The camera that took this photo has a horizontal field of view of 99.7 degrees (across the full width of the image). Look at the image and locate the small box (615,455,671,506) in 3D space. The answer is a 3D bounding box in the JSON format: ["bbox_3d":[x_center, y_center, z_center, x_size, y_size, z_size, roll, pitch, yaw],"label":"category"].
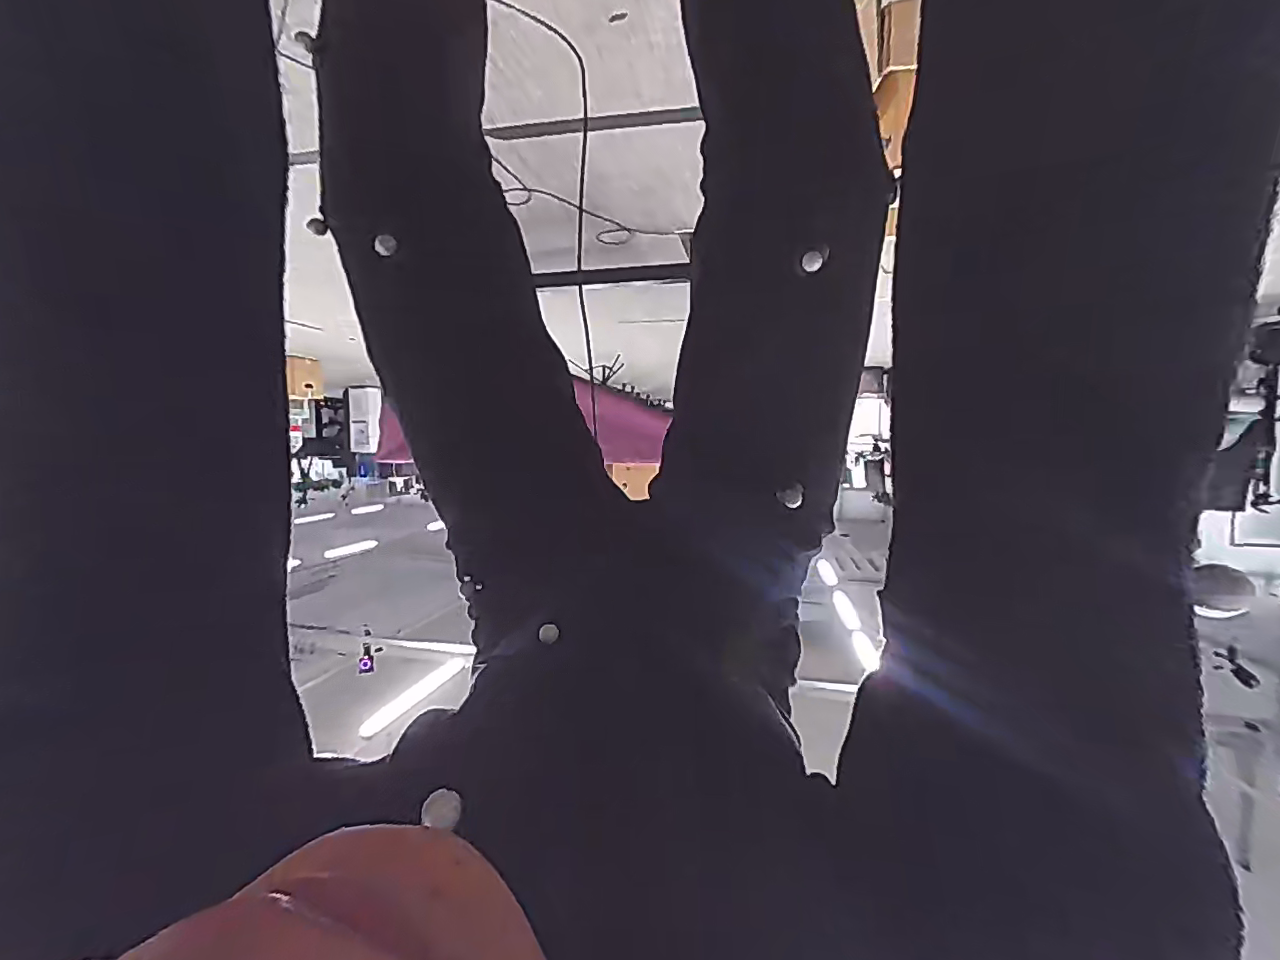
[{"bbox_3d":[0.012,-0.003,1.968,0.168,0.176,0.179,3,-174,20],"label":"small box"}]
